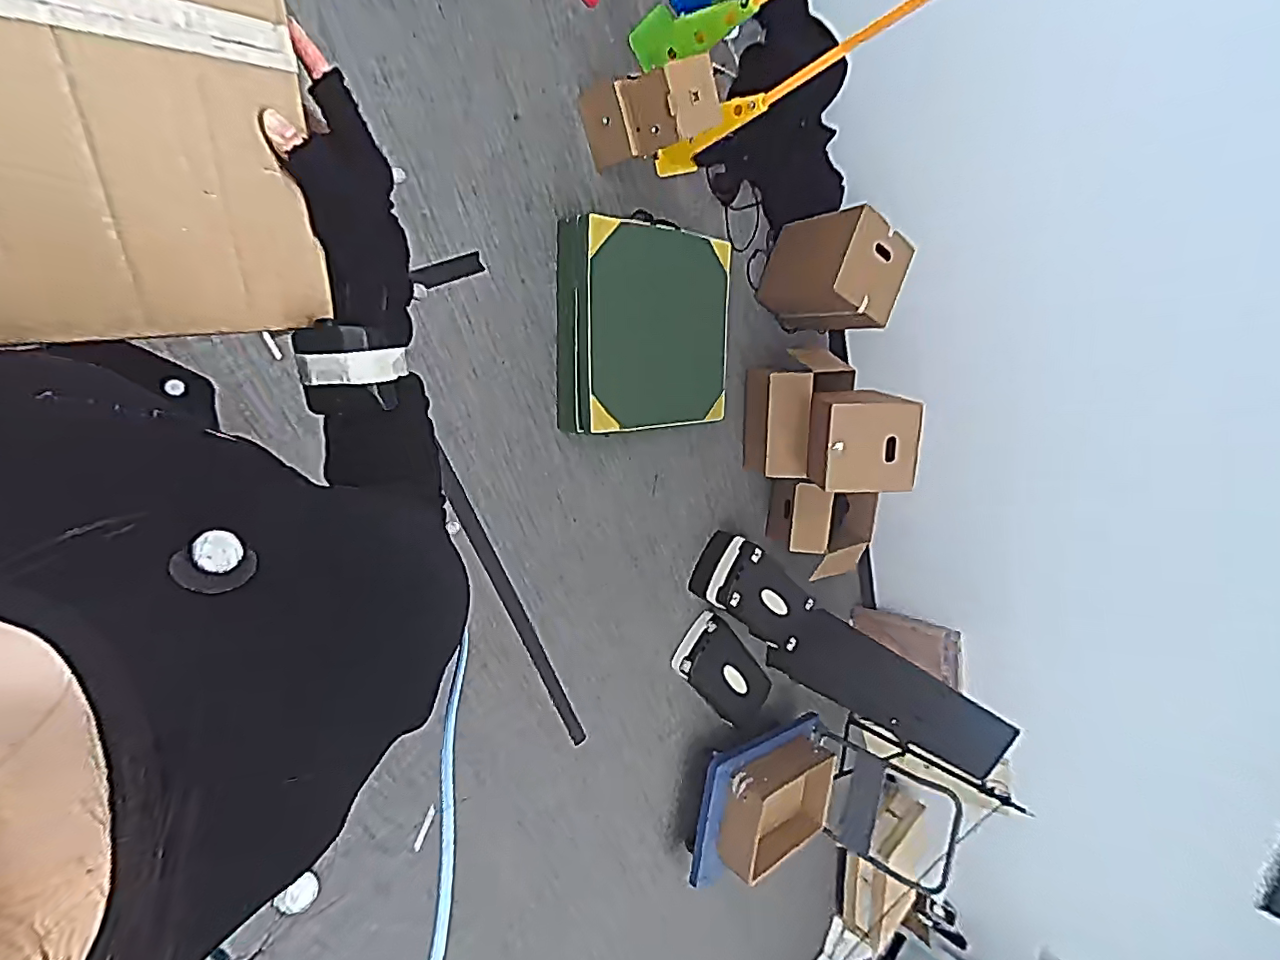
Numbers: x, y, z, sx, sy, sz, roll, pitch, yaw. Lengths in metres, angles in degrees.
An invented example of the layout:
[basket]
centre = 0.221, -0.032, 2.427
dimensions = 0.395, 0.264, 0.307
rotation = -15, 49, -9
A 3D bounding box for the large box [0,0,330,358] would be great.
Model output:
[large box]
centre = -0.460, -0.255, 0.302
dimensions = 0.408, 0.320, 0.320
rotation = -18, 128, -37
